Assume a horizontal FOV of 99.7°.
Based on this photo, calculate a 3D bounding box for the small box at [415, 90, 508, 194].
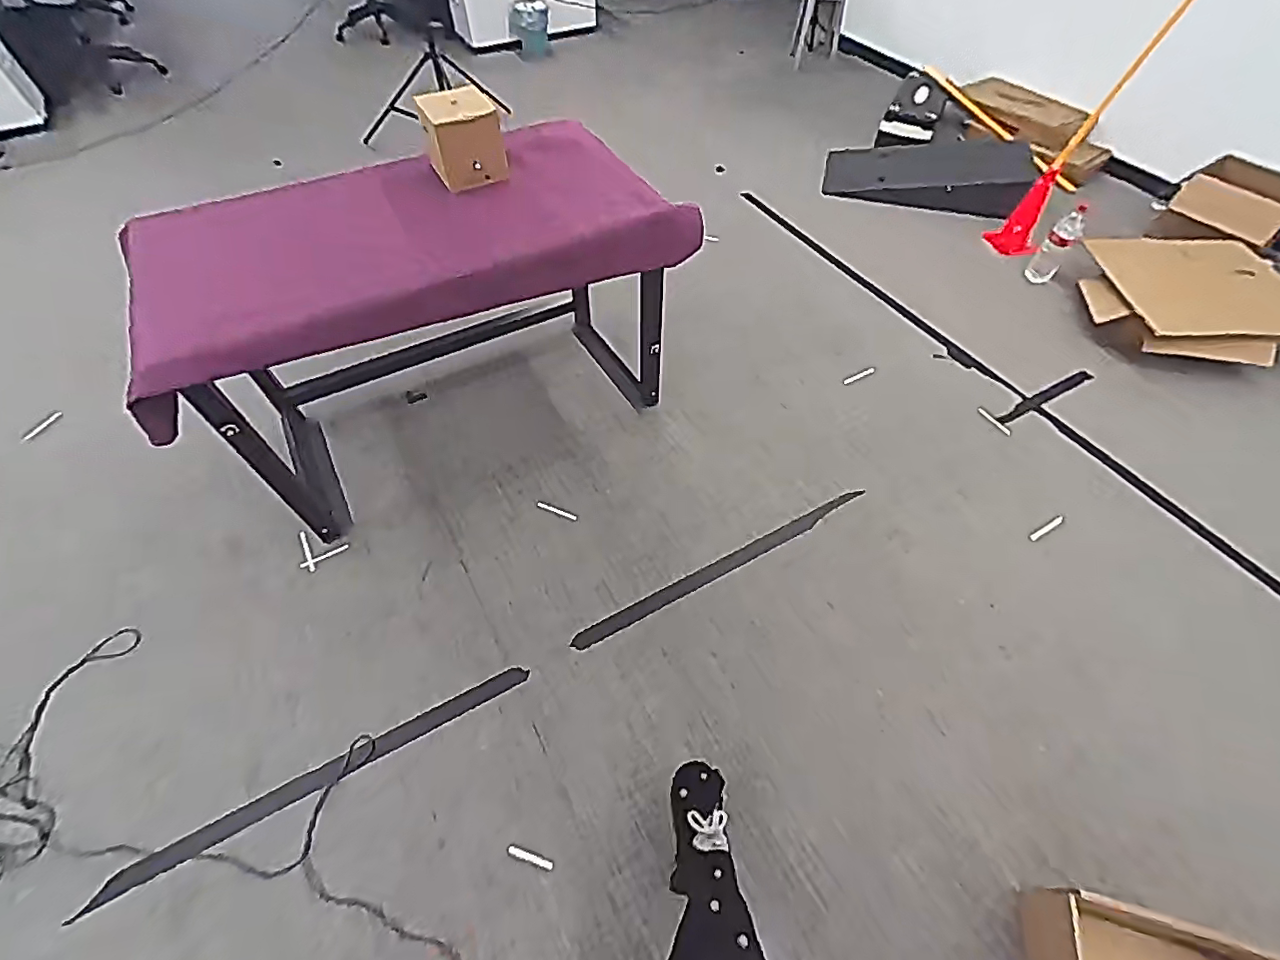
[{"bbox_3d":[-0.466,-0.889,1.425,0.168,0.176,0.179,-25,60,-16],"label":"small box"}]
